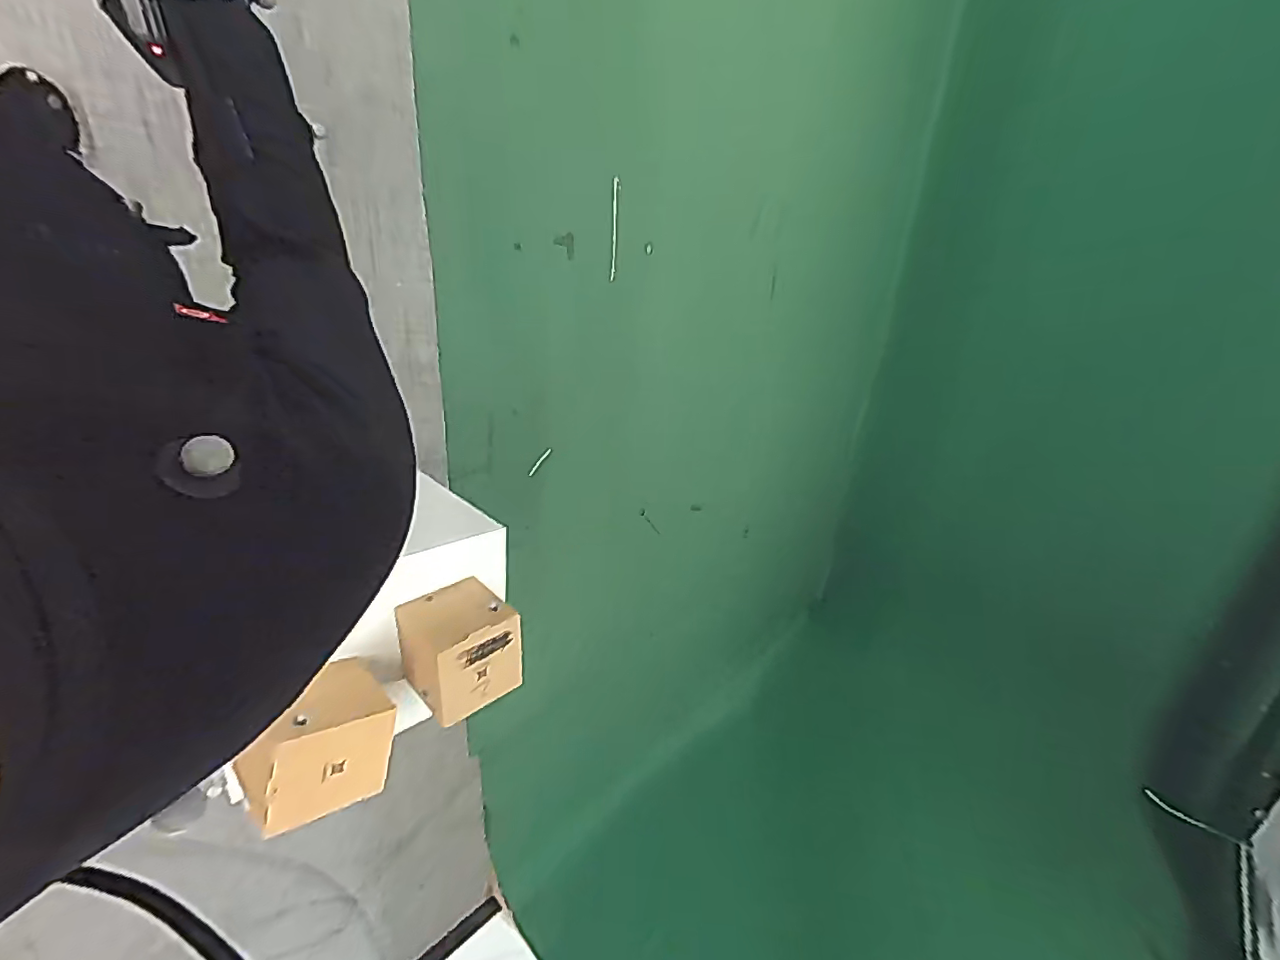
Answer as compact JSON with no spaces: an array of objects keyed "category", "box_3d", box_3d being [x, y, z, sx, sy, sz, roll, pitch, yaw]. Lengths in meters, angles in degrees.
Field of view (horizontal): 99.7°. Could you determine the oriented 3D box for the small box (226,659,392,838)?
[{"category":"small box","box_3d":[-0.536,0.415,0.874,0.179,0.176,0.168,1,107,-49]}]
